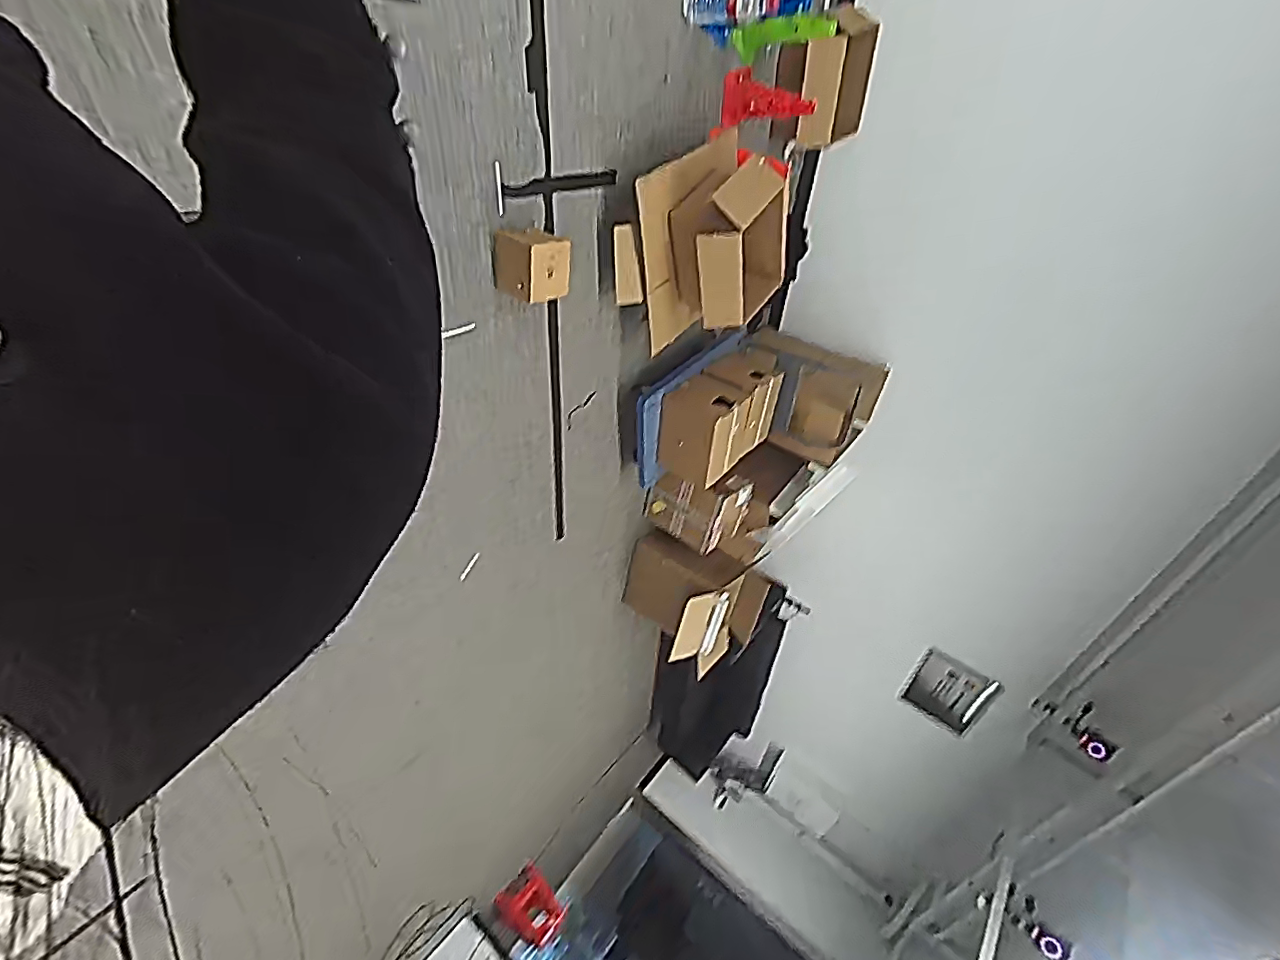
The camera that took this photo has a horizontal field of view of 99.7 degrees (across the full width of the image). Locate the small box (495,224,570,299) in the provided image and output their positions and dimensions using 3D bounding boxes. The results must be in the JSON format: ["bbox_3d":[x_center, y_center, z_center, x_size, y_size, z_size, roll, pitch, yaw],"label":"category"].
[{"bbox_3d":[-0.345,-0.697,1.719,0.168,0.176,0.179,-33,142,-43],"label":"small box"}]
